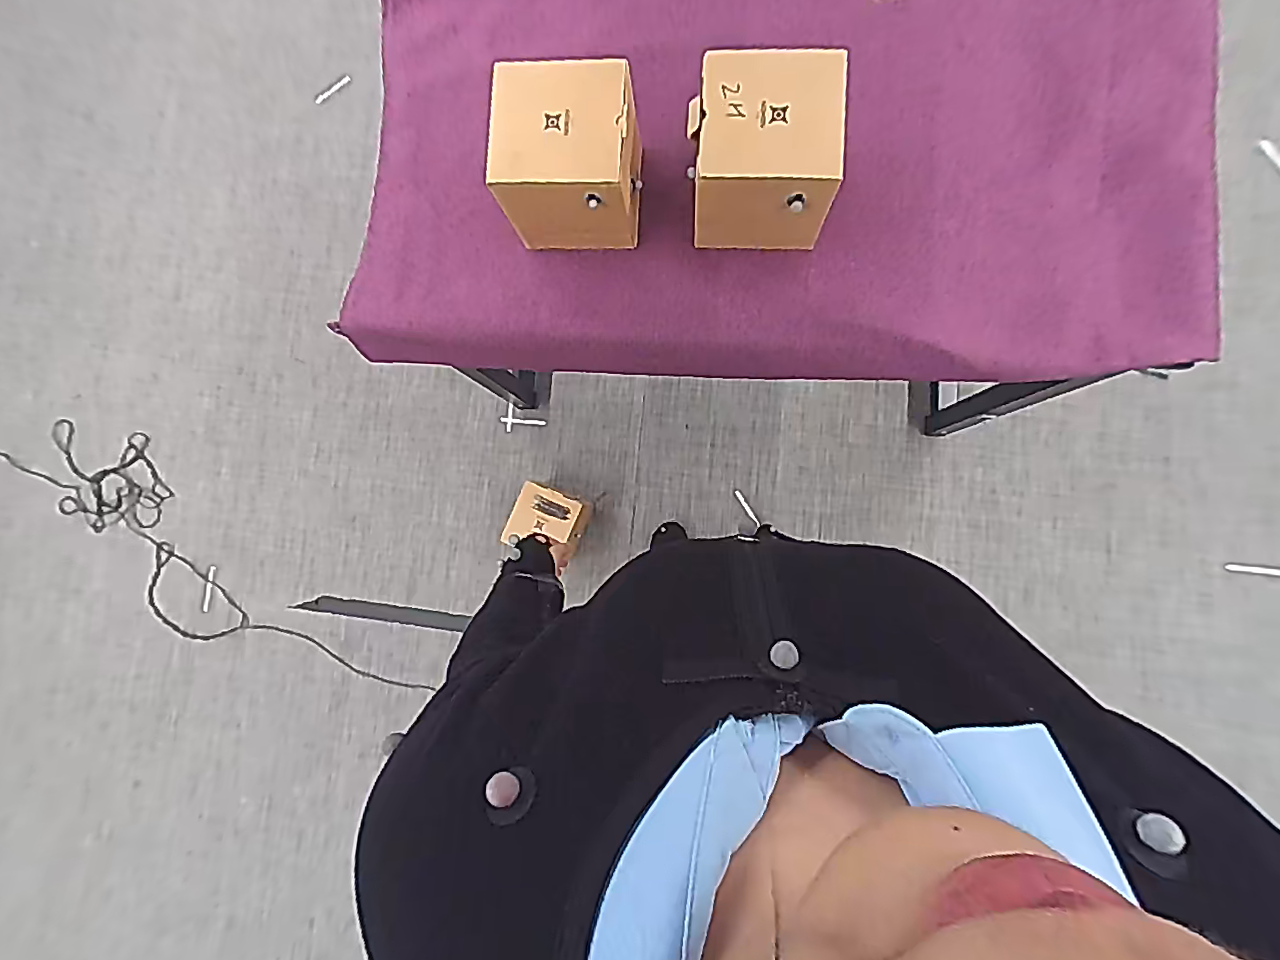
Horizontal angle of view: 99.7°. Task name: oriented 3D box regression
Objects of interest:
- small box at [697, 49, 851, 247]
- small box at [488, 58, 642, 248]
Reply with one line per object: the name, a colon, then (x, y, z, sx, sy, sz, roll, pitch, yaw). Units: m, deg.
small box: (0.170, -0.434, 0.731, 0.179, 0.176, 0.168, 3, 85, 6)
small box: (-0.095, -0.444, 0.760, 0.179, 0.176, 0.168, 2, 86, 5)
